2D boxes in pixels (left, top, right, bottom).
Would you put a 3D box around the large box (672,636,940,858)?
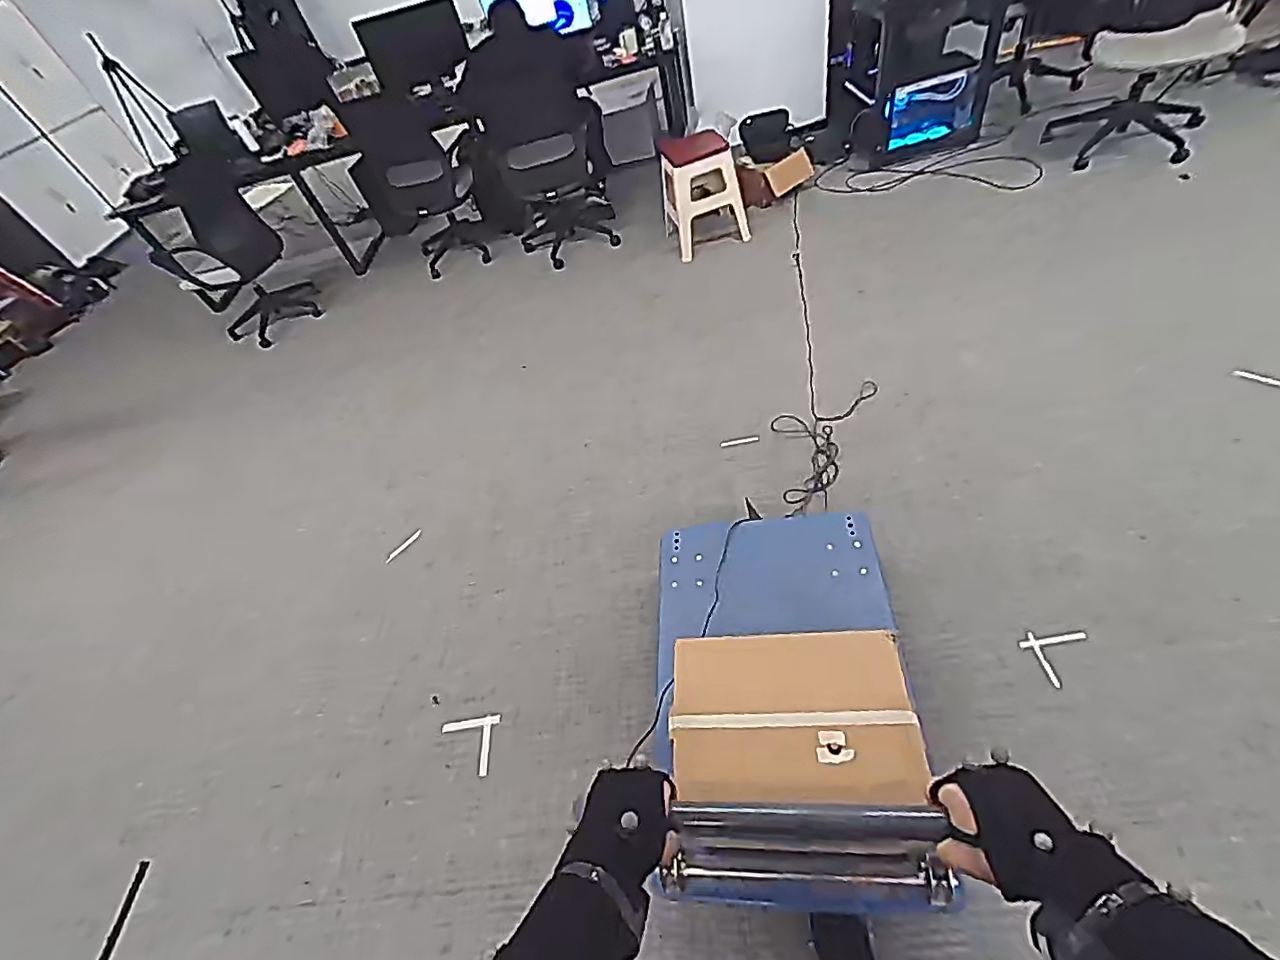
[{"bbox_3d":[0.282,0.516,1.029,0.408,0.320,0.320,-6,50,11],"label":"large box"}]
